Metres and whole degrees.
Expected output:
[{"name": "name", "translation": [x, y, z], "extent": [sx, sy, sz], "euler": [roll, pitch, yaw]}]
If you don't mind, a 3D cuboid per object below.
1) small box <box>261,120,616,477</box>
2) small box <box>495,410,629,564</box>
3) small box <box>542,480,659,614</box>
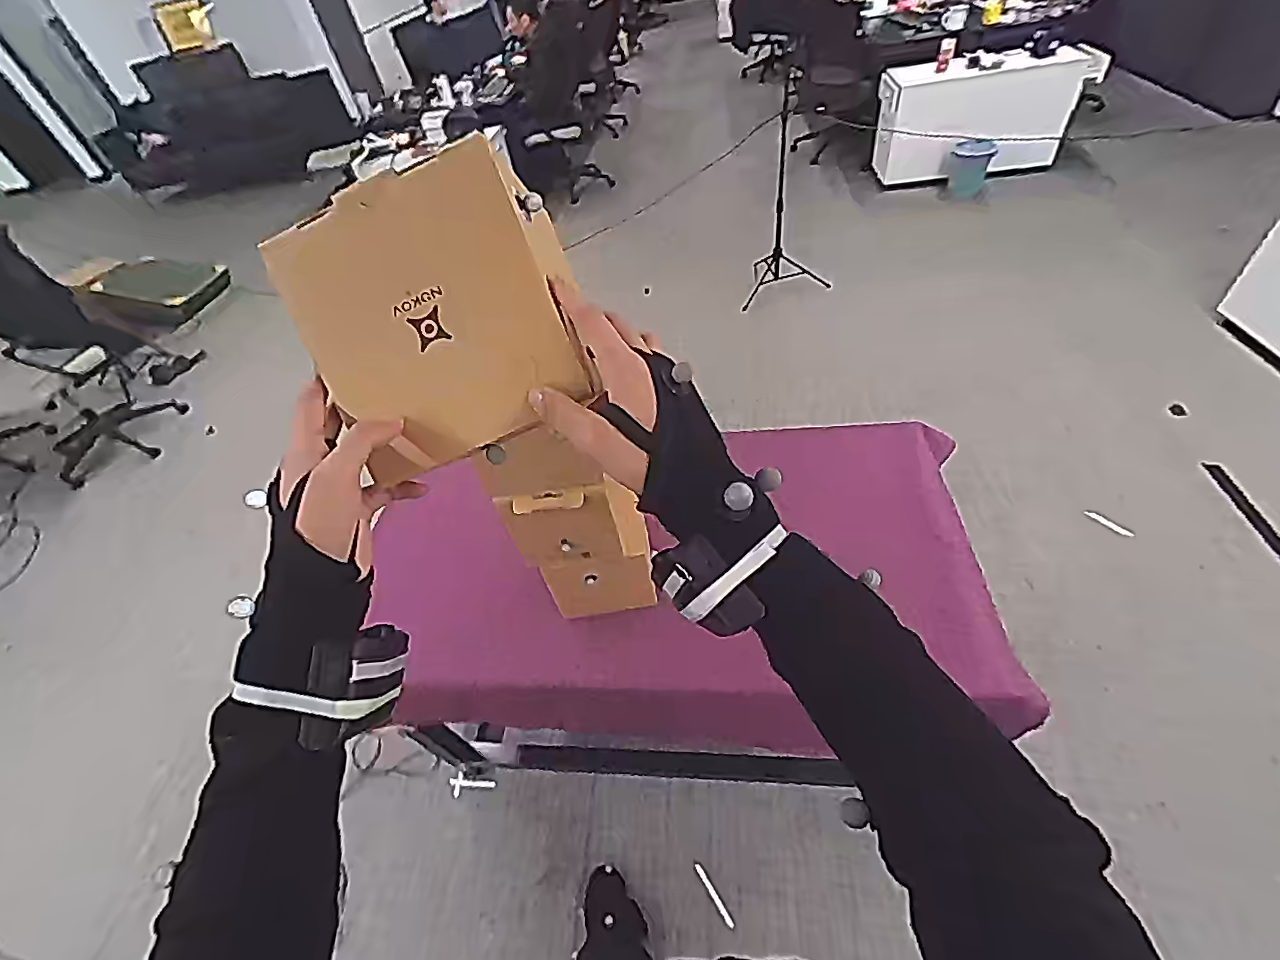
[{"name": "small box", "translation": [-0.130, -0.123, 0.423], "extent": [0.168, 0.179, 0.176], "euler": [-22, 6, 8]}, {"name": "small box", "translation": [-0.114, 0.013, 0.869], "extent": [0.168, 0.176, 0.179], "euler": [-6, 47, 7]}, {"name": "small box", "translation": [-0.069, 0.126, 0.981], "extent": [0.179, 0.176, 0.168], "euler": [-9, 47, 2]}]
